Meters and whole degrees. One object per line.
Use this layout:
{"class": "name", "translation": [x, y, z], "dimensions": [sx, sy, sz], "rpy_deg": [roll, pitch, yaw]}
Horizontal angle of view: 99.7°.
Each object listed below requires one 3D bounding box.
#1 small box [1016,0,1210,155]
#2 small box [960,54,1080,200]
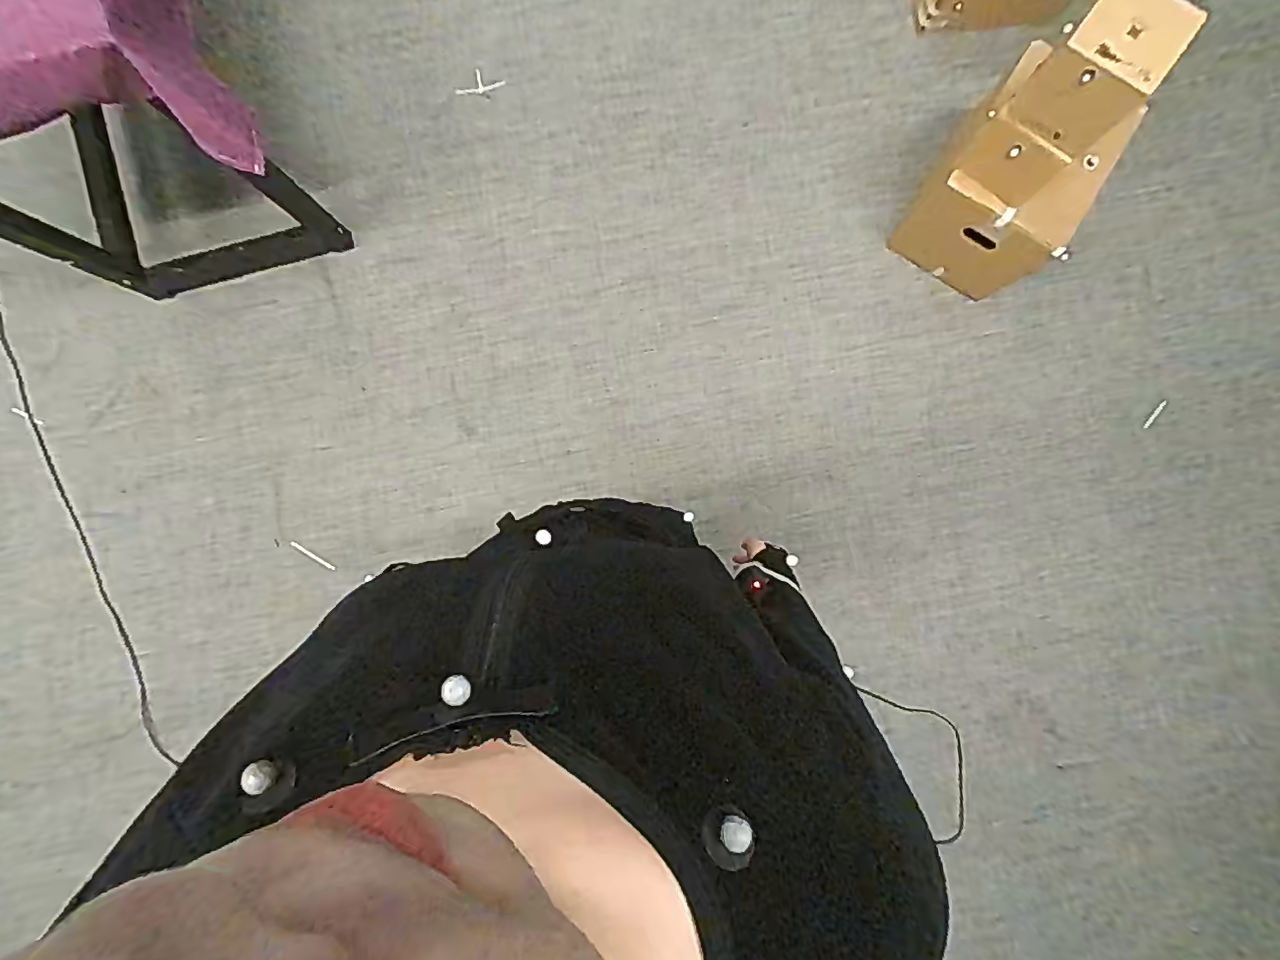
{"class": "small box", "translation": [0.840, -0.750, 0.983], "dimensions": [0.168, 0.176, 0.179], "rpy_deg": [37, 89, 4]}
{"class": "small box", "translation": [0.837, -0.733, 1.147], "dimensions": [0.179, 0.176, 0.168], "rpy_deg": [41, 89, 4]}
